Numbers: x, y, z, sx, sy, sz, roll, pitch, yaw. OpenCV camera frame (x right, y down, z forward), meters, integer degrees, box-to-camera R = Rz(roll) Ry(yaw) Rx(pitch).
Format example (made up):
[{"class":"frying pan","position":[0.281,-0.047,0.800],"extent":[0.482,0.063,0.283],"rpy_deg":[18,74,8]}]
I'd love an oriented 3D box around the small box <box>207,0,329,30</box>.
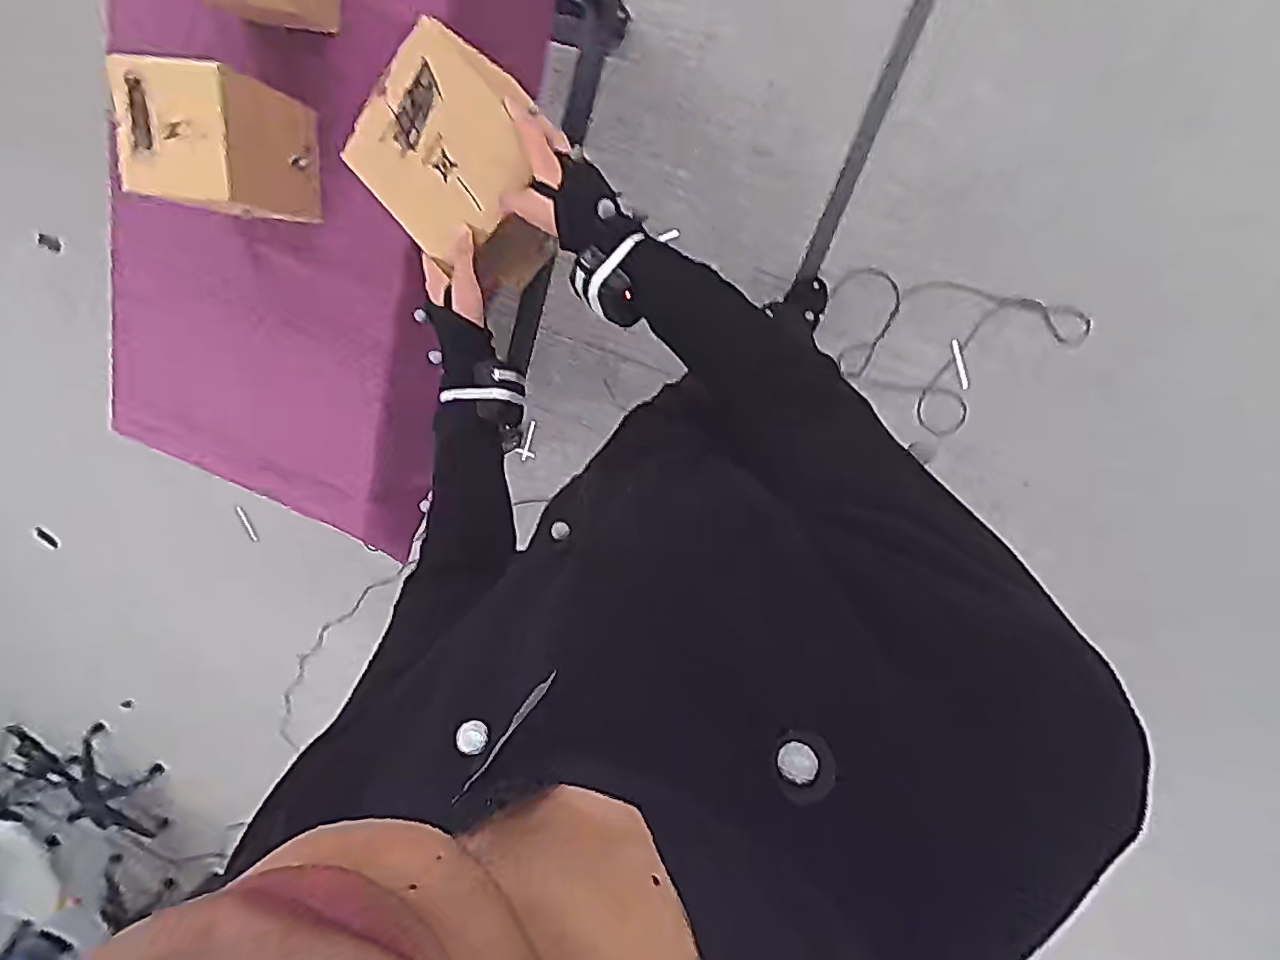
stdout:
[{"class":"small box","position":[-0.536,-0.736,0.713],"extent":[0.179,0.176,0.168],"rpy_deg":[16,109,9]}]

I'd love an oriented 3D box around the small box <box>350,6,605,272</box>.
[{"class":"small box","position":[-0.171,-0.356,0.611],"extent":[0.168,0.176,0.179],"rpy_deg":[-38,95,25]}]
